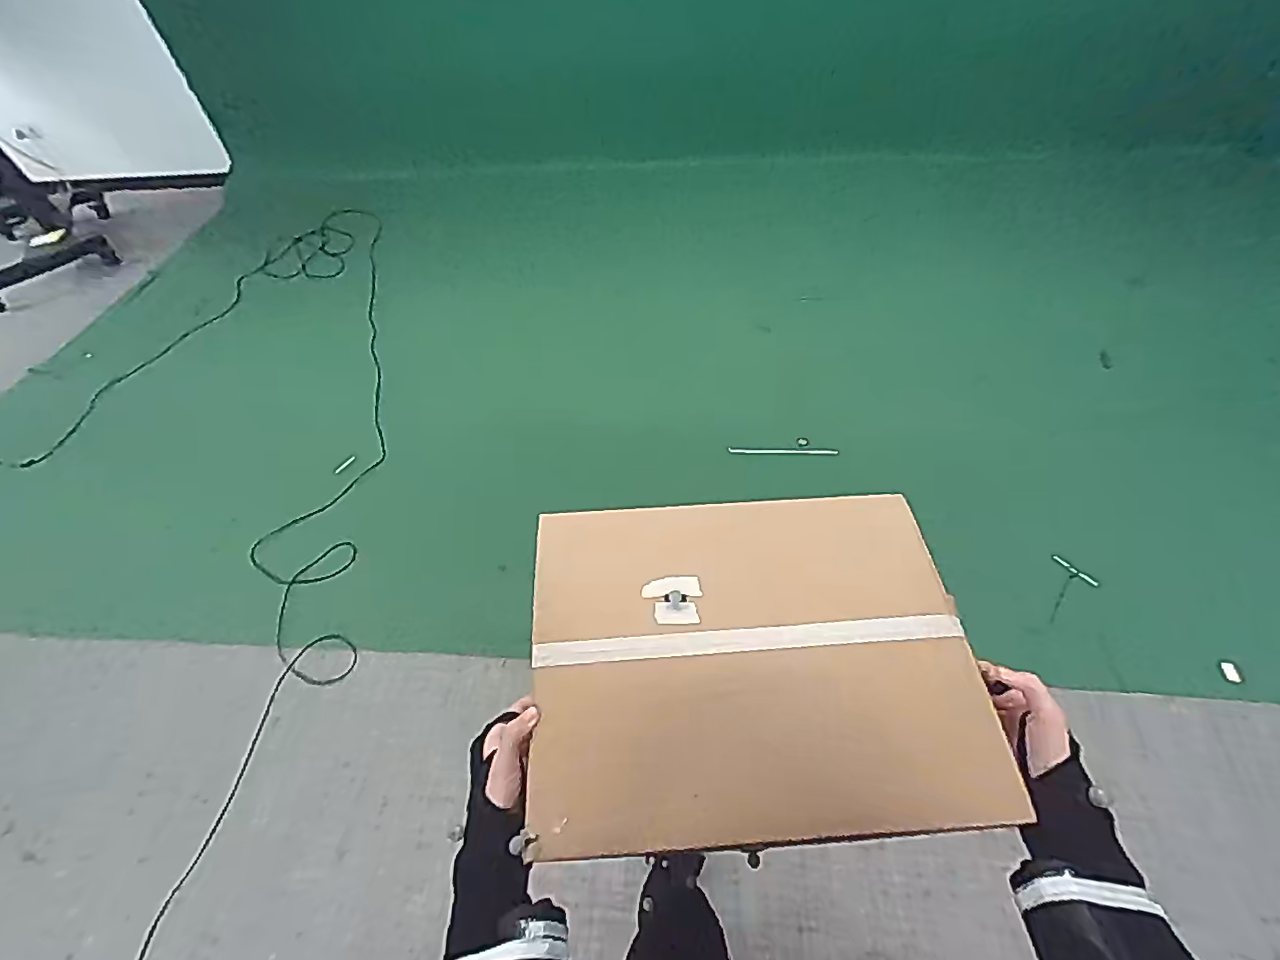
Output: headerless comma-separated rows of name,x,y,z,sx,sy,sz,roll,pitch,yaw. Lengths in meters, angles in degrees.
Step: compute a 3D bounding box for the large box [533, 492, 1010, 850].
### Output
large box,0.106,0.238,0.646,0.408,0.320,0.320,-4,55,-1
